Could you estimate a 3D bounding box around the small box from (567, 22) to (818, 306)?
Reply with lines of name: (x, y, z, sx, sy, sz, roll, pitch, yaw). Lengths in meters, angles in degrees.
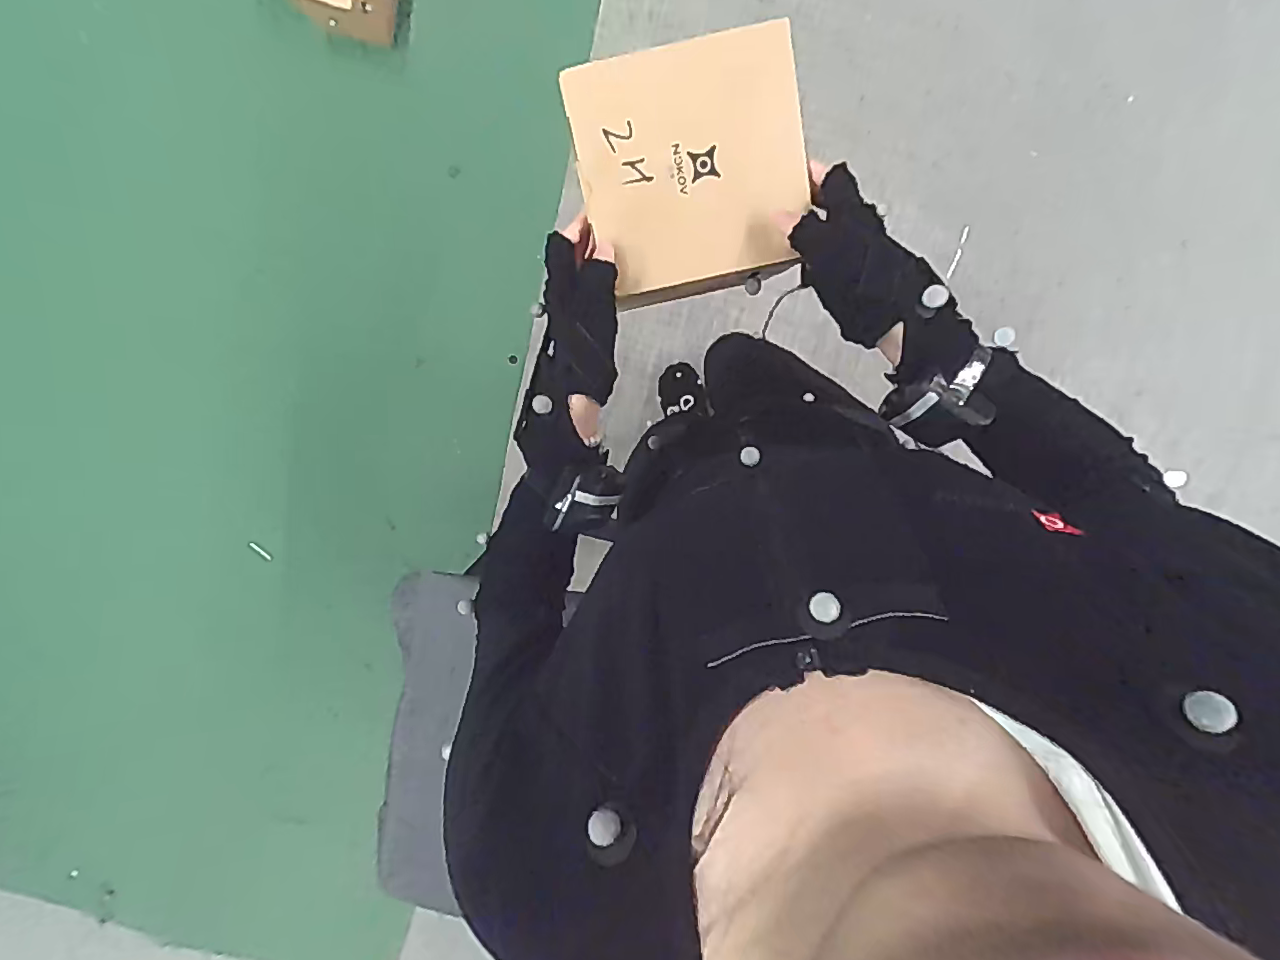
small box: (0.041, -0.261, 0.492, 0.179, 0.176, 0.168, -11, 104, 2)
